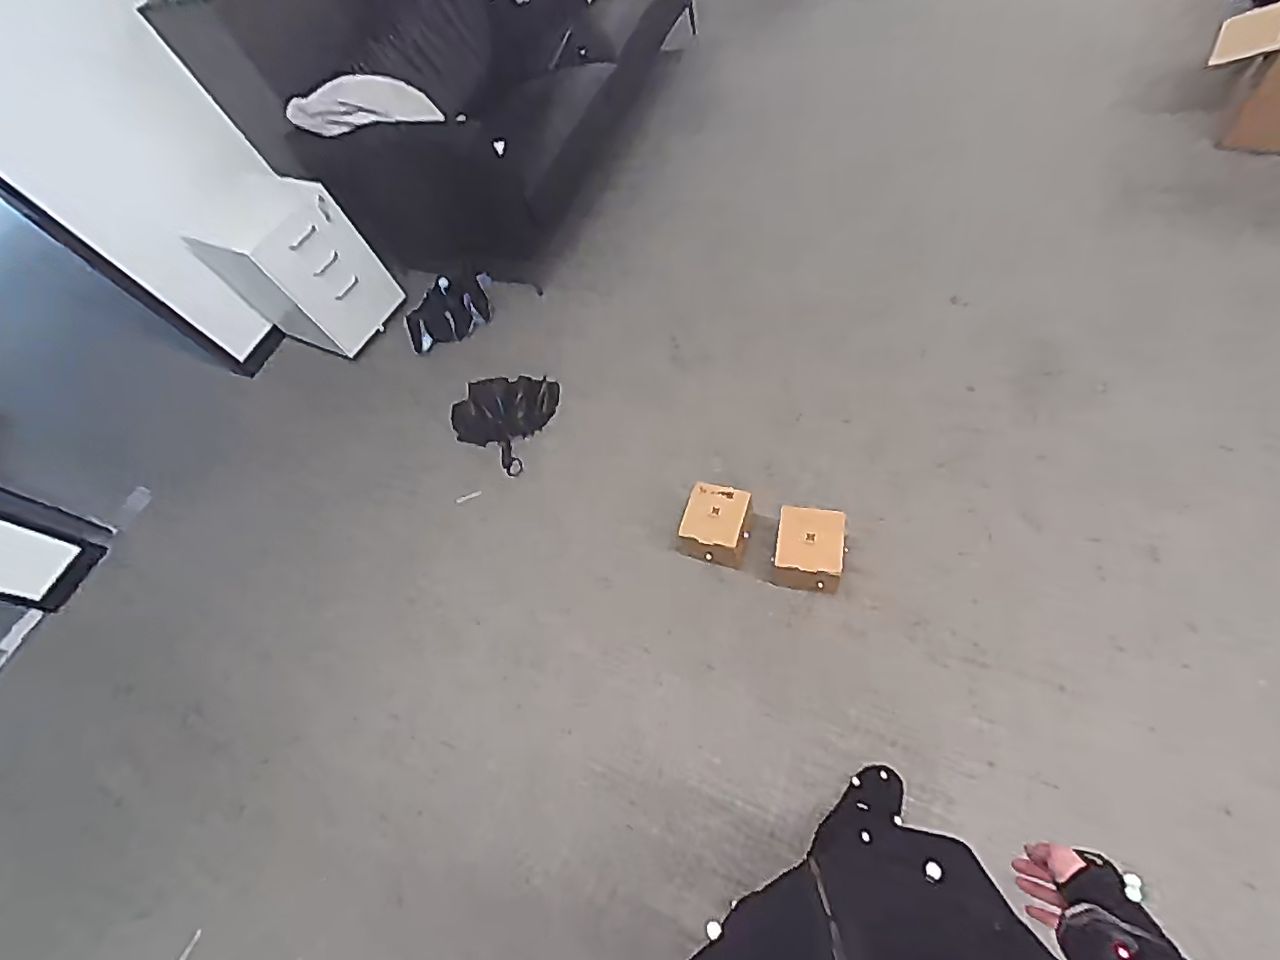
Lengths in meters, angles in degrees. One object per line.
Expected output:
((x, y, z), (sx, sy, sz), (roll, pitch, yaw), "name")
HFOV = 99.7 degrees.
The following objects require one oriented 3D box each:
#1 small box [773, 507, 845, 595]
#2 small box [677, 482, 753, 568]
((0.454, 0.194, 1.457), (0.168, 0.176, 0.179), (6, 61, 17), "small box")
((0.224, 0.133, 1.554), (0.168, 0.176, 0.179), (13, 65, 22), "small box")
